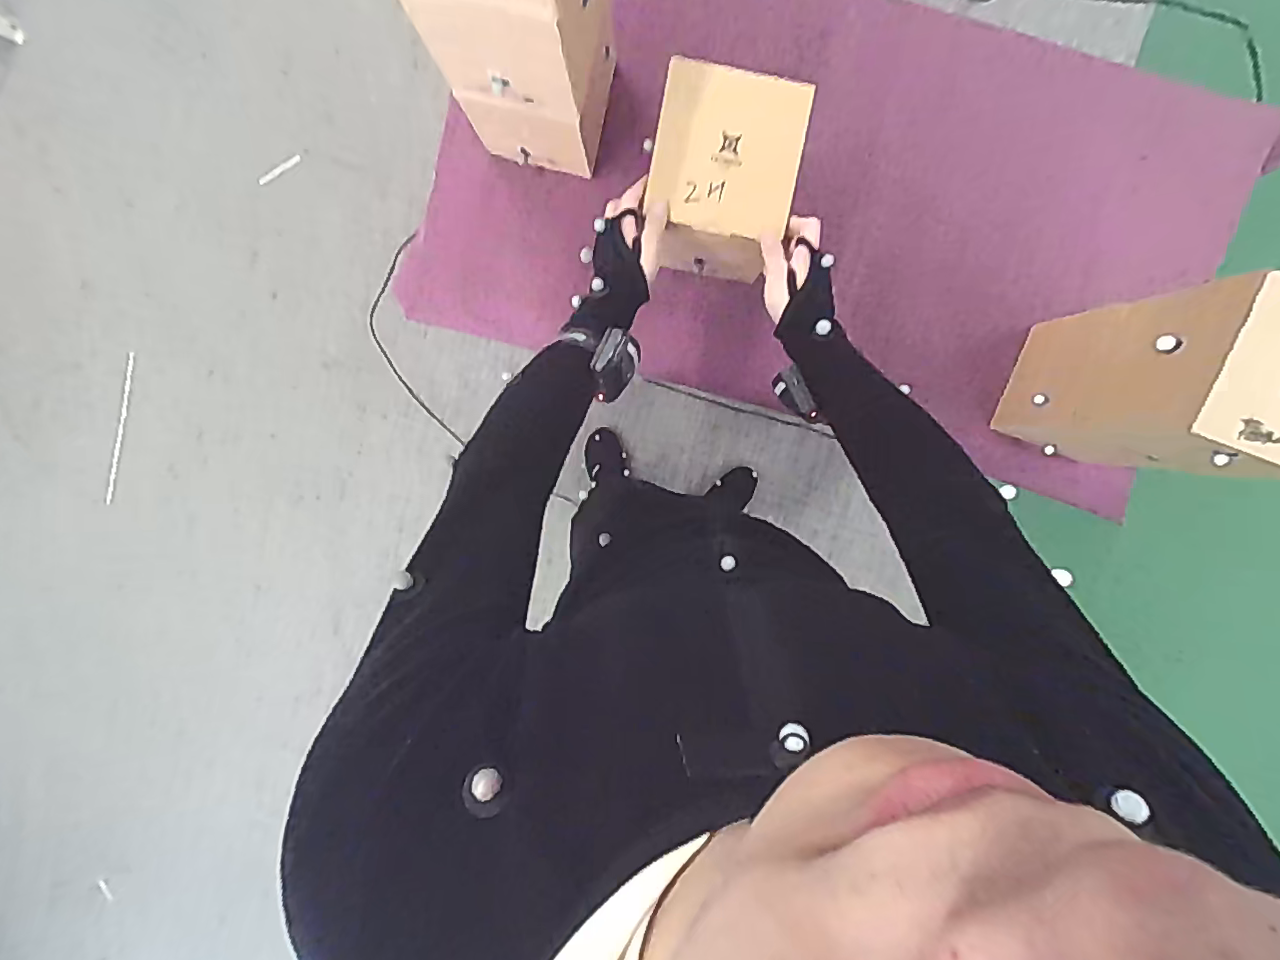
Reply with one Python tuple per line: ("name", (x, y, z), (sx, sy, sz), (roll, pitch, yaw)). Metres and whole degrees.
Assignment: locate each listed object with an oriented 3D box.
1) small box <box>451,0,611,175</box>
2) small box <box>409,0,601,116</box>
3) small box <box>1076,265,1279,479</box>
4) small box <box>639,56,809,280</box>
("small box", (-0.139, -0.563, 0.747), (0.168, 0.176, 0.179), (13, 97, -1))
("small box", (-0.139, -0.544, 0.585), (0.168, 0.176, 0.179), (13, 97, 0))
("small box", (0.663, -0.113, 0.623), (0.168, 0.176, 0.179), (20, 95, 0))
("small box", (0.093, -0.378, 0.688), (0.168, 0.176, 0.179), (11, 96, -1))
